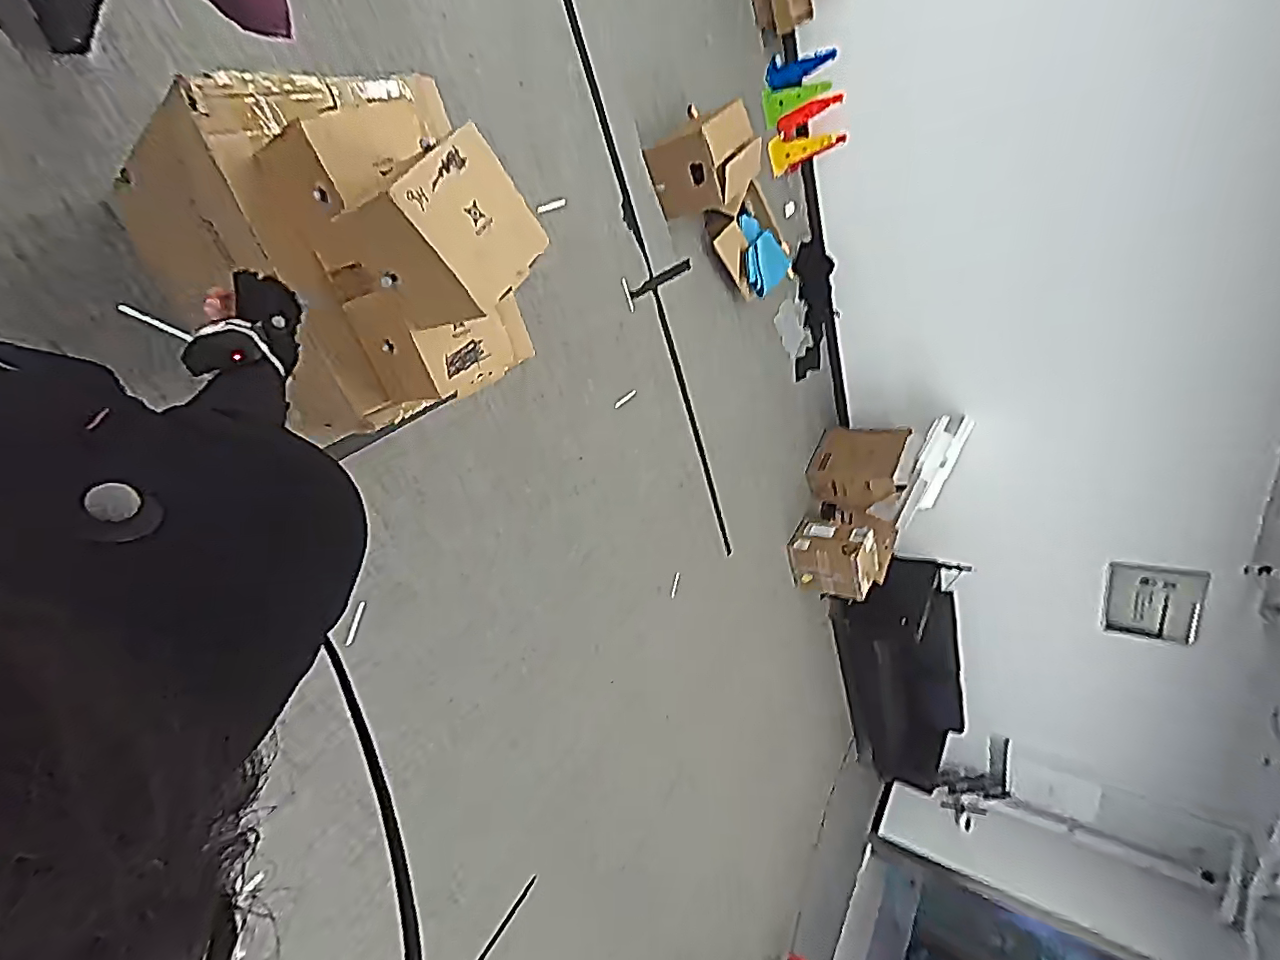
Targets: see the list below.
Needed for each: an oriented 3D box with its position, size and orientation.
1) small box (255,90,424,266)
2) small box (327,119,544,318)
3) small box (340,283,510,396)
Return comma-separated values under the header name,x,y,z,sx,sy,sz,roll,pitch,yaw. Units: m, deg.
name,x,y,z,sx,sy,sz,roll,pitch,yaw
small box,-0.420,-0.439,0.801,0.168,0.176,0.179,-46,129,-36
small box,-0.272,-0.338,0.733,0.179,0.176,0.168,54,54,-40
small box,-0.355,-0.249,0.899,0.168,0.176,0.179,-41,122,-40
